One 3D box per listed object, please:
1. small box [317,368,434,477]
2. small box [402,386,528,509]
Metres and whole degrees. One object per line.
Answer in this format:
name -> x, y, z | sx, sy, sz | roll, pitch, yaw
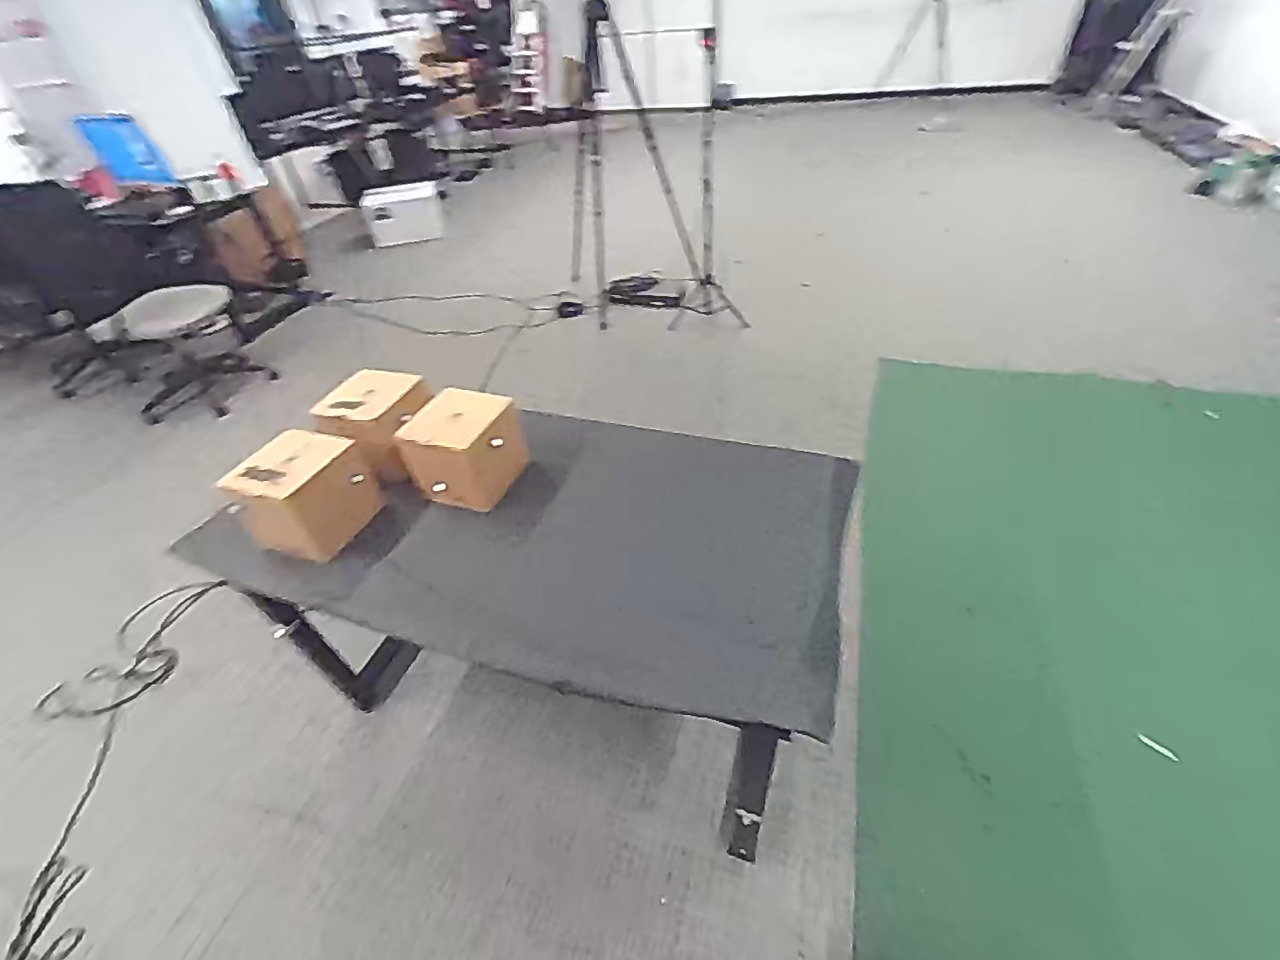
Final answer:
small box -> -0.565, -0.128, 1.212 | 0.168, 0.176, 0.179 | 10, 44, 16
small box -> -0.350, -0.068, 1.124 | 0.168, 0.176, 0.179 | 12, 46, 18
